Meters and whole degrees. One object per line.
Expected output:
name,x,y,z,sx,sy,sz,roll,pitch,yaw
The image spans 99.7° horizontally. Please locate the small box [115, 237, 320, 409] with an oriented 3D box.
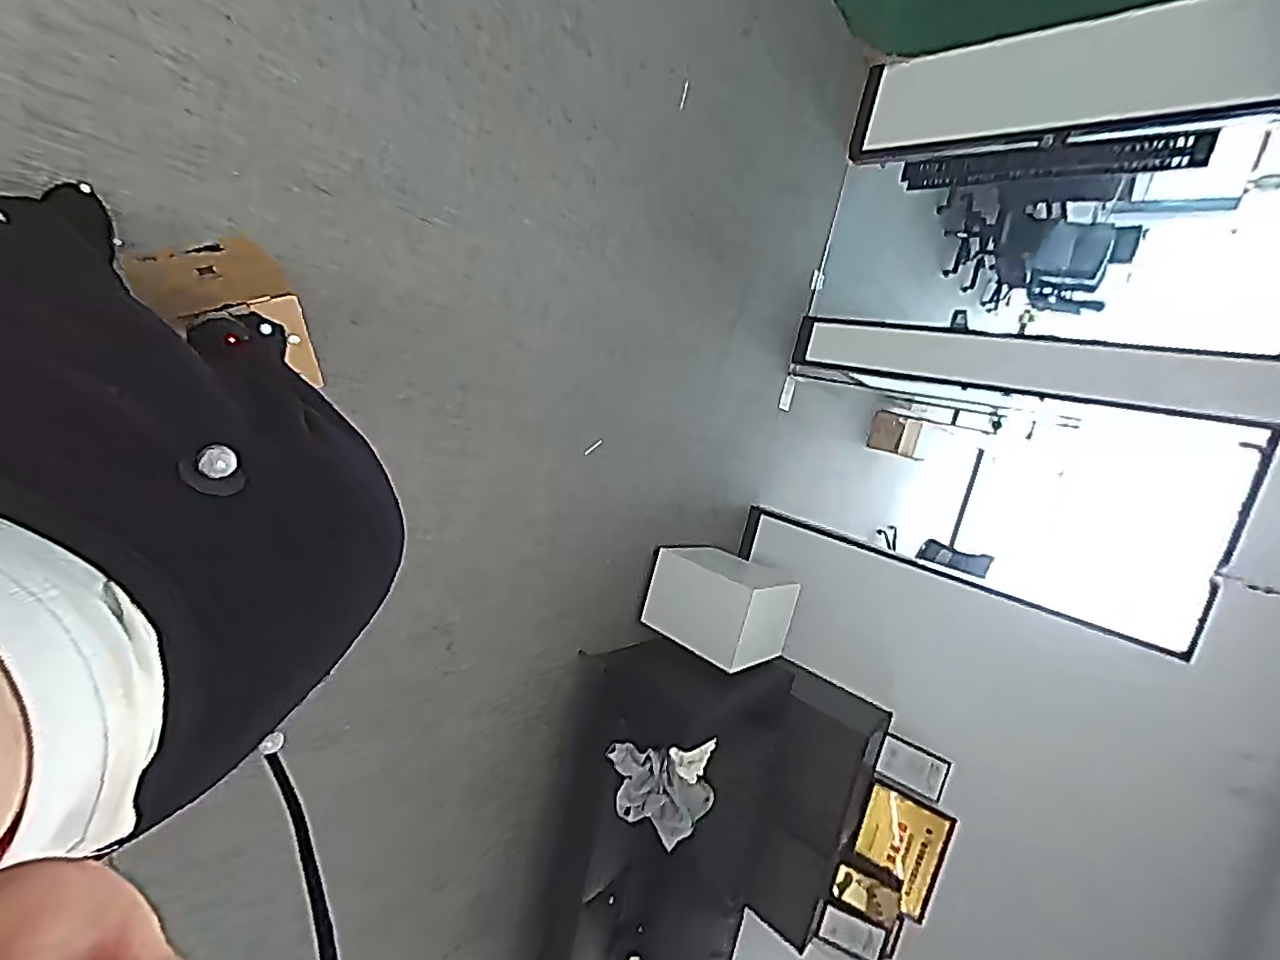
small box,-0.611,-0.227,0.803,0.168,0.179,0.176,-31,152,-33
